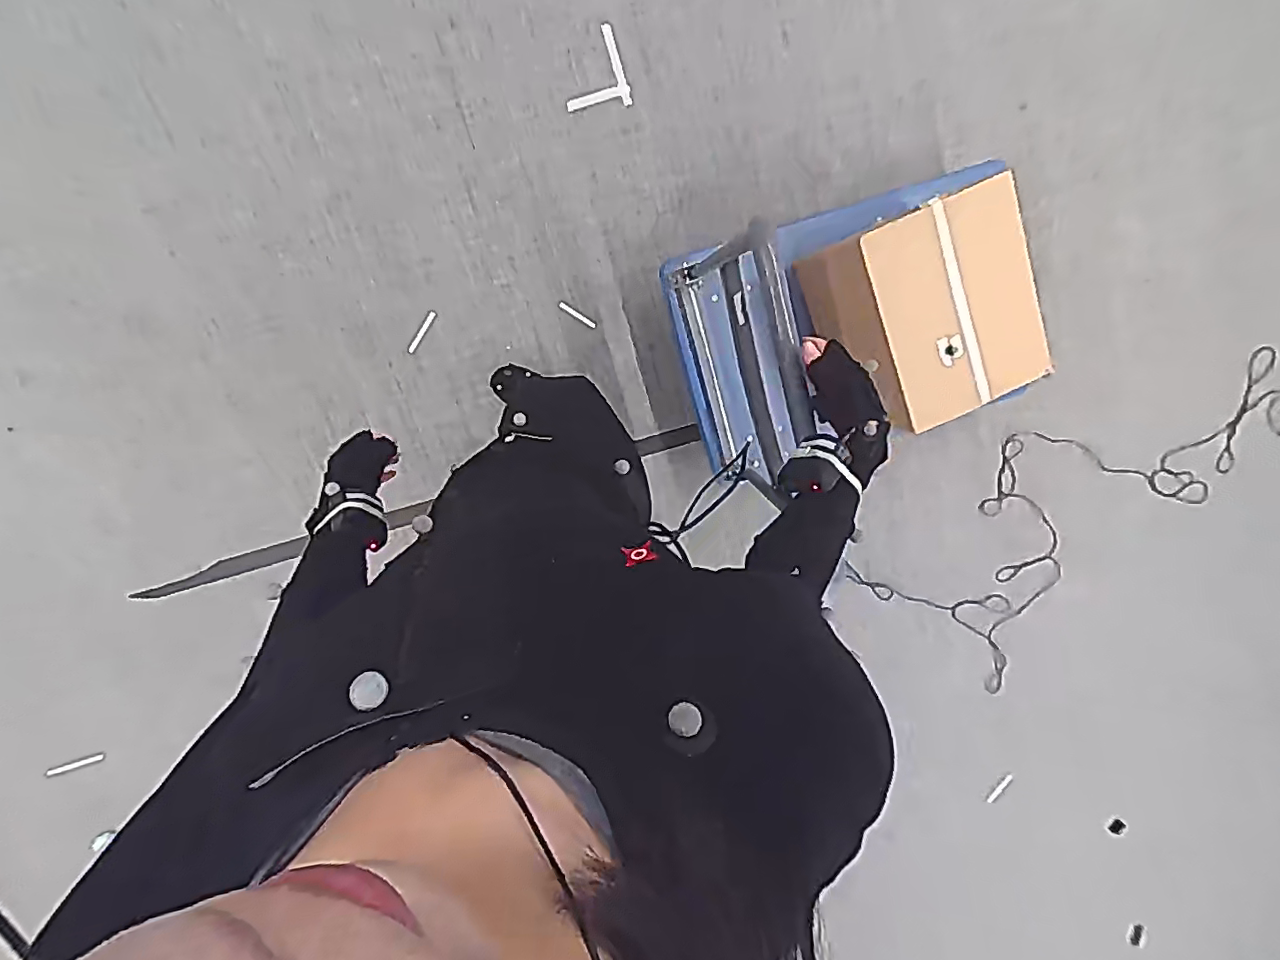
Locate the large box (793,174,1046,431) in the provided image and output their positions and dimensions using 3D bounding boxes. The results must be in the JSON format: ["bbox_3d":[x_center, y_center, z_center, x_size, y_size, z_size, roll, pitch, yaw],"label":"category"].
[{"bbox_3d":[0.593,-0.369,1.192,0.320,0.320,0.408,-25,106,-1],"label":"large box"}]
